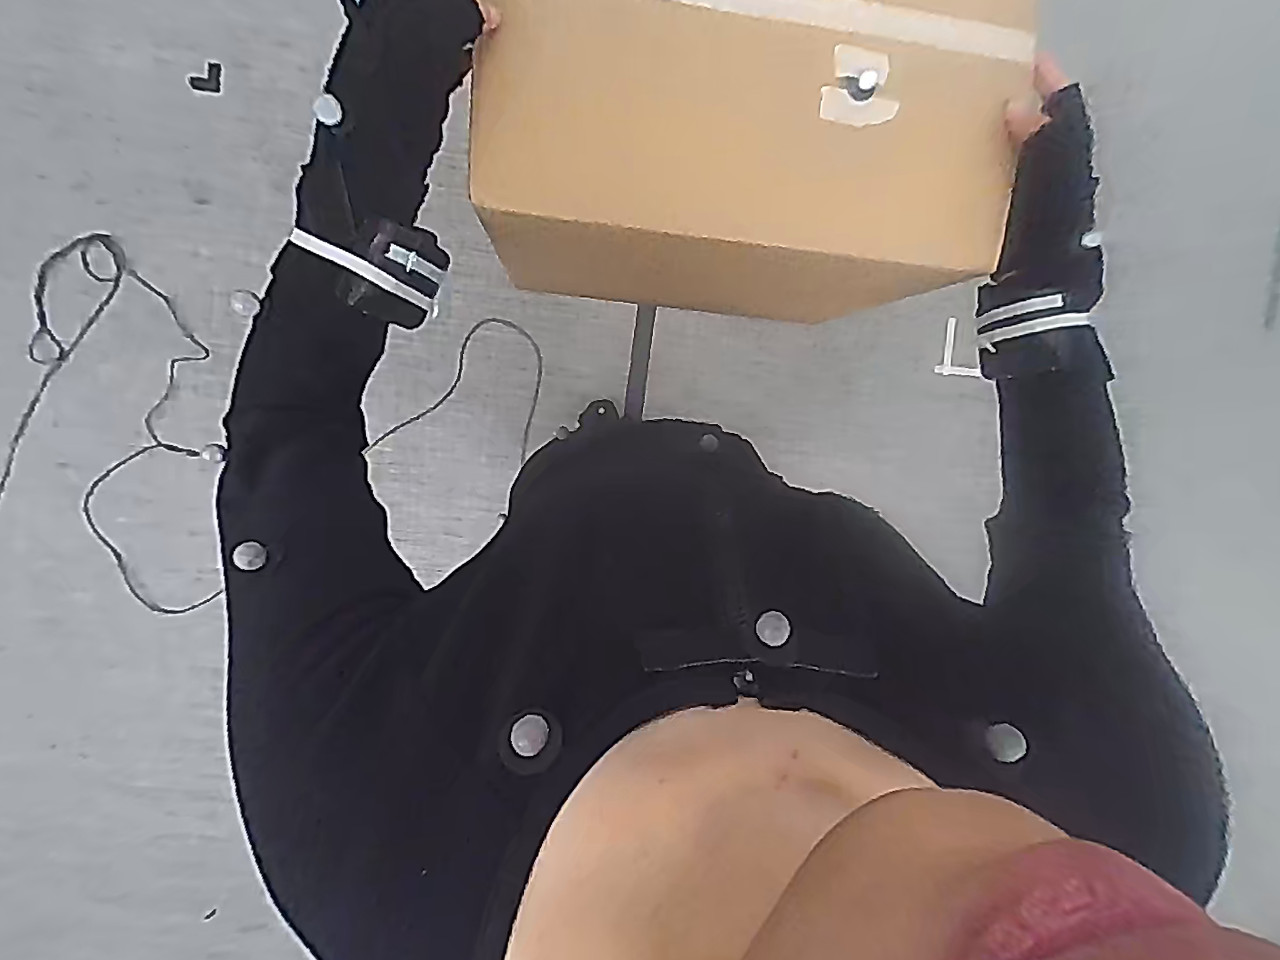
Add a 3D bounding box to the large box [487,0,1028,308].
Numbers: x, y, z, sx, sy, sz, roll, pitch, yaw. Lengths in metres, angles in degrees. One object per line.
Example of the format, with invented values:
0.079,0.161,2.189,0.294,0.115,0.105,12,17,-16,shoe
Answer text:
0.073,-0.366,0.534,0.408,0.320,0.320,3,99,-9,large box
